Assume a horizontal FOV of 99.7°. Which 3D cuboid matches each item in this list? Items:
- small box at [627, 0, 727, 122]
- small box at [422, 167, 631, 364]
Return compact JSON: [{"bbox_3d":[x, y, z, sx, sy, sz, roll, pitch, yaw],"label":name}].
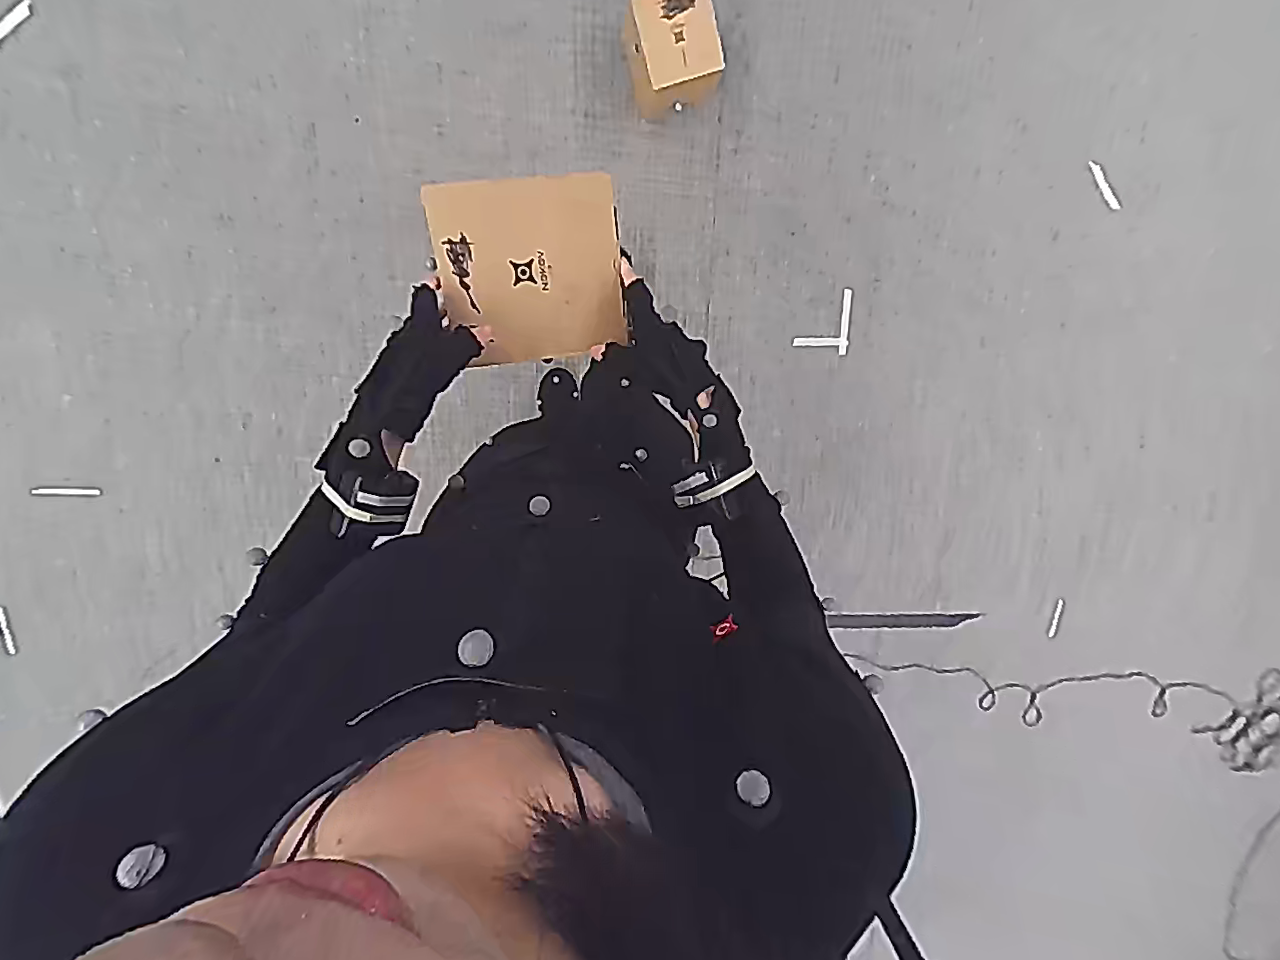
[{"bbox_3d":[0.075,-0.940,1.202,0.168,0.176,0.179,-18,107,-2],"label":"small box"},{"bbox_3d":[-0.116,-0.225,0.584,0.179,0.176,0.168,-9,108,-8],"label":"small box"}]
